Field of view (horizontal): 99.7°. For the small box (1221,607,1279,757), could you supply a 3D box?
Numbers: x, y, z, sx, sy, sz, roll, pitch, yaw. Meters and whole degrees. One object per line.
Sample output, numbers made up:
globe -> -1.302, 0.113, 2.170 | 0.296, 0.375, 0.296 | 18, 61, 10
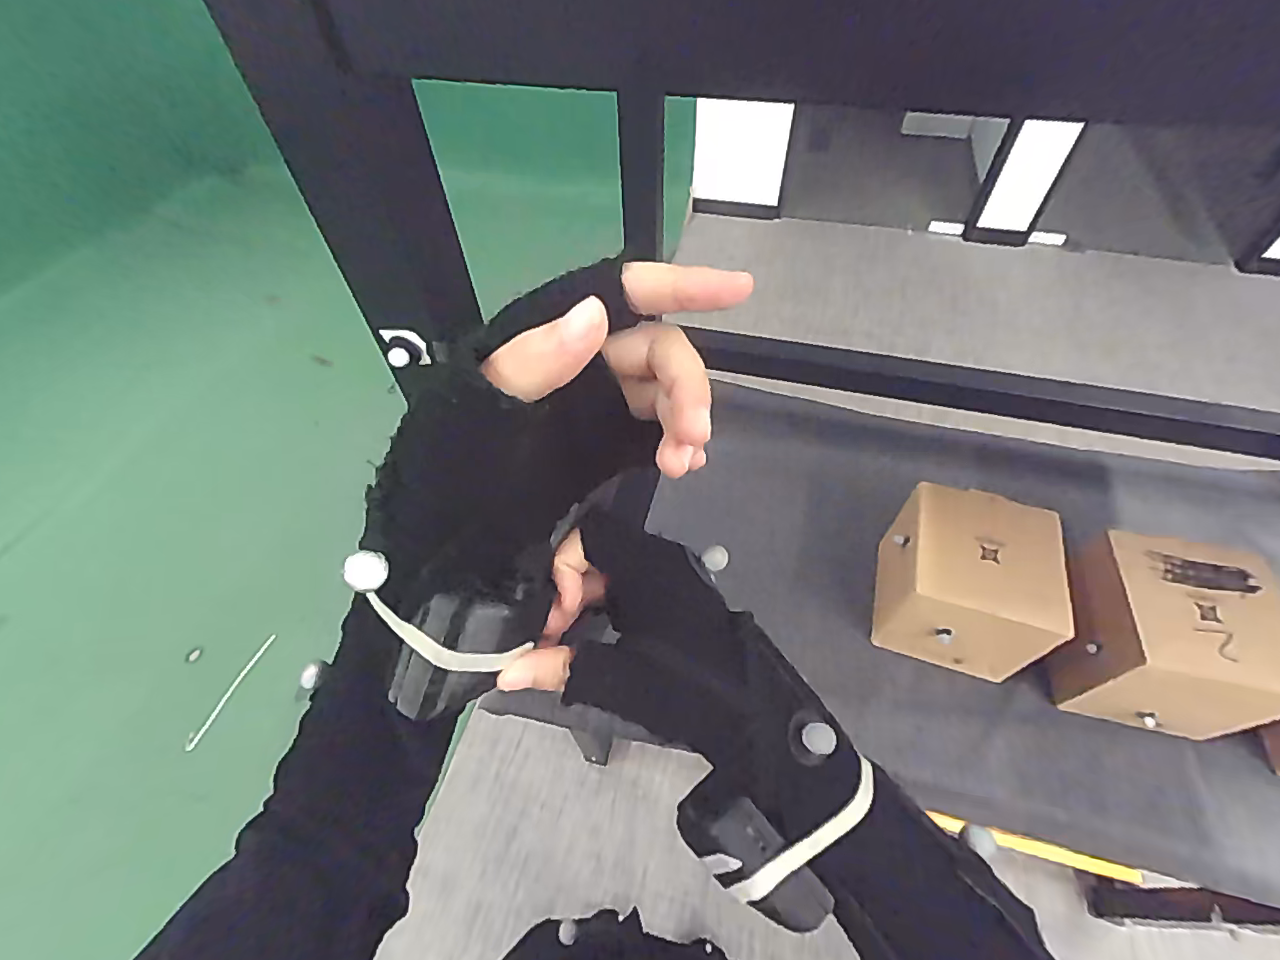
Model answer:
small box -> 0.846, 0.244, 0.614 | 0.168, 0.176, 0.179 | 10, 53, 9

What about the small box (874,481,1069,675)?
small box -> 0.424, 0.134, 0.719 | 0.168, 0.176, 0.179 | 15, 54, 13
